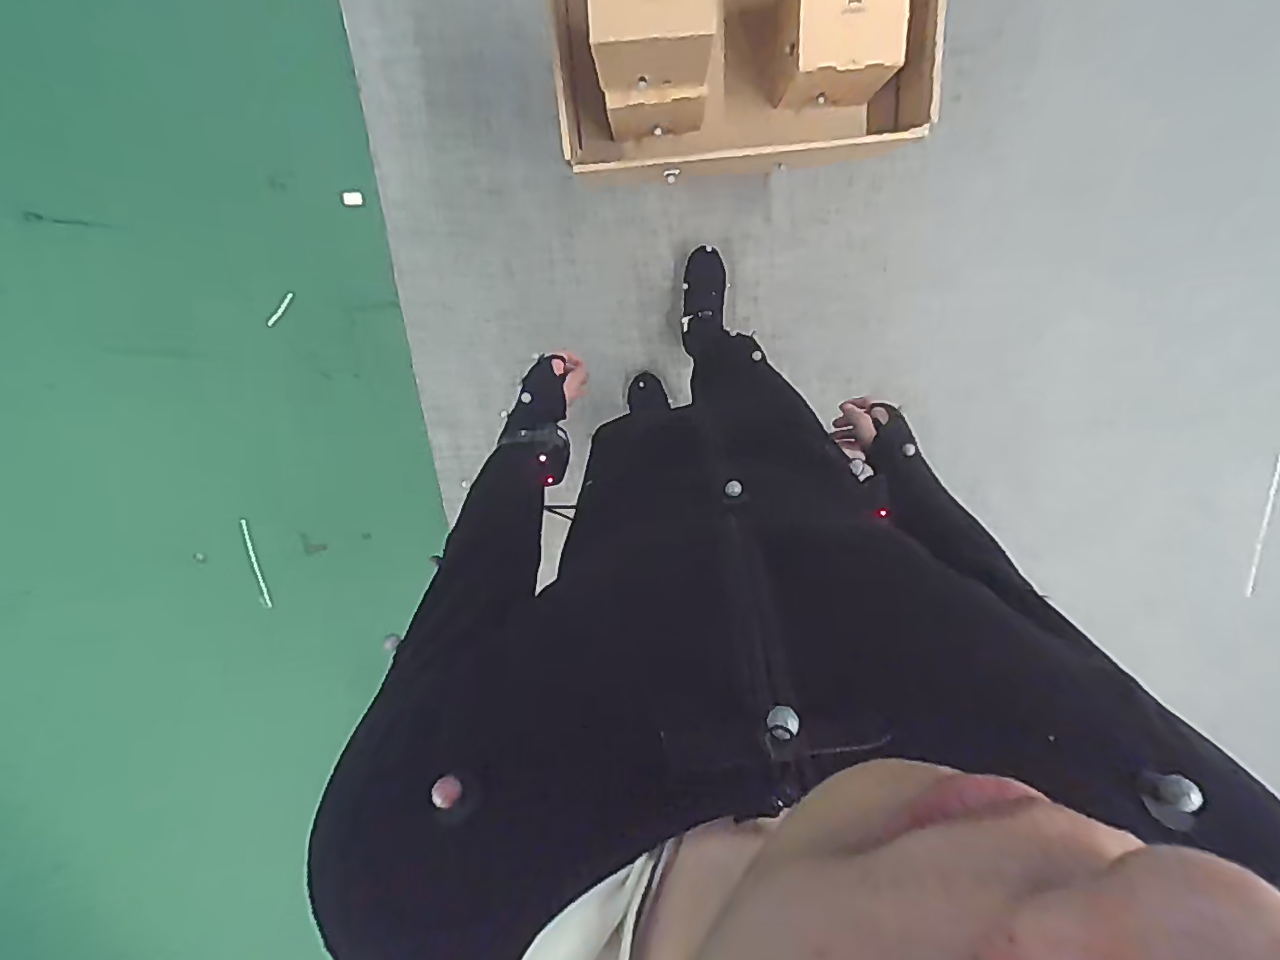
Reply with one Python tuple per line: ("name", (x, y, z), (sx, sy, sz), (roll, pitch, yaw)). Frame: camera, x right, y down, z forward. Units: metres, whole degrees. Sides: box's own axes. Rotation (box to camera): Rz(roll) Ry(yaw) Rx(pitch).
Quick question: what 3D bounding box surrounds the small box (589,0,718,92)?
("small box", (0.017, -0.672, 0.745), (0.168, 0.176, 0.179), (-1, 106, 2))
